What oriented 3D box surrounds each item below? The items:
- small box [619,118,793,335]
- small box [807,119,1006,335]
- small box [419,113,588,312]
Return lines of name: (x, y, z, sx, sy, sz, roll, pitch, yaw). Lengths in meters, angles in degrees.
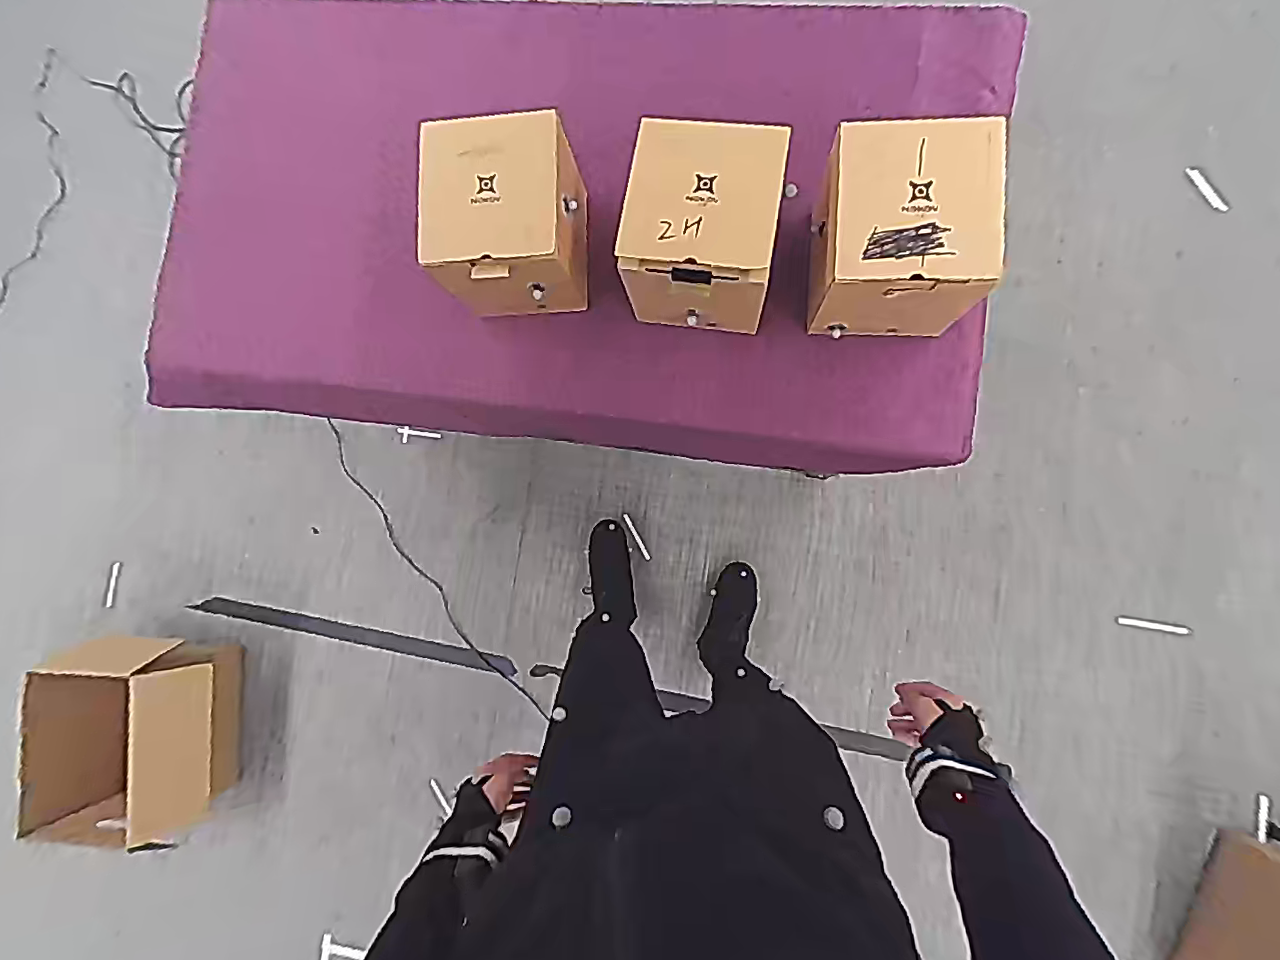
small box: (0.079, -0.298, 0.664, 0.168, 0.176, 0.179, 9, 87, 8)
small box: (0.296, -0.280, 0.635, 0.168, 0.176, 0.179, 3, 86, 8)
small box: (-0.164, -0.326, 0.698, 0.168, 0.176, 0.179, -1, 86, 7)
